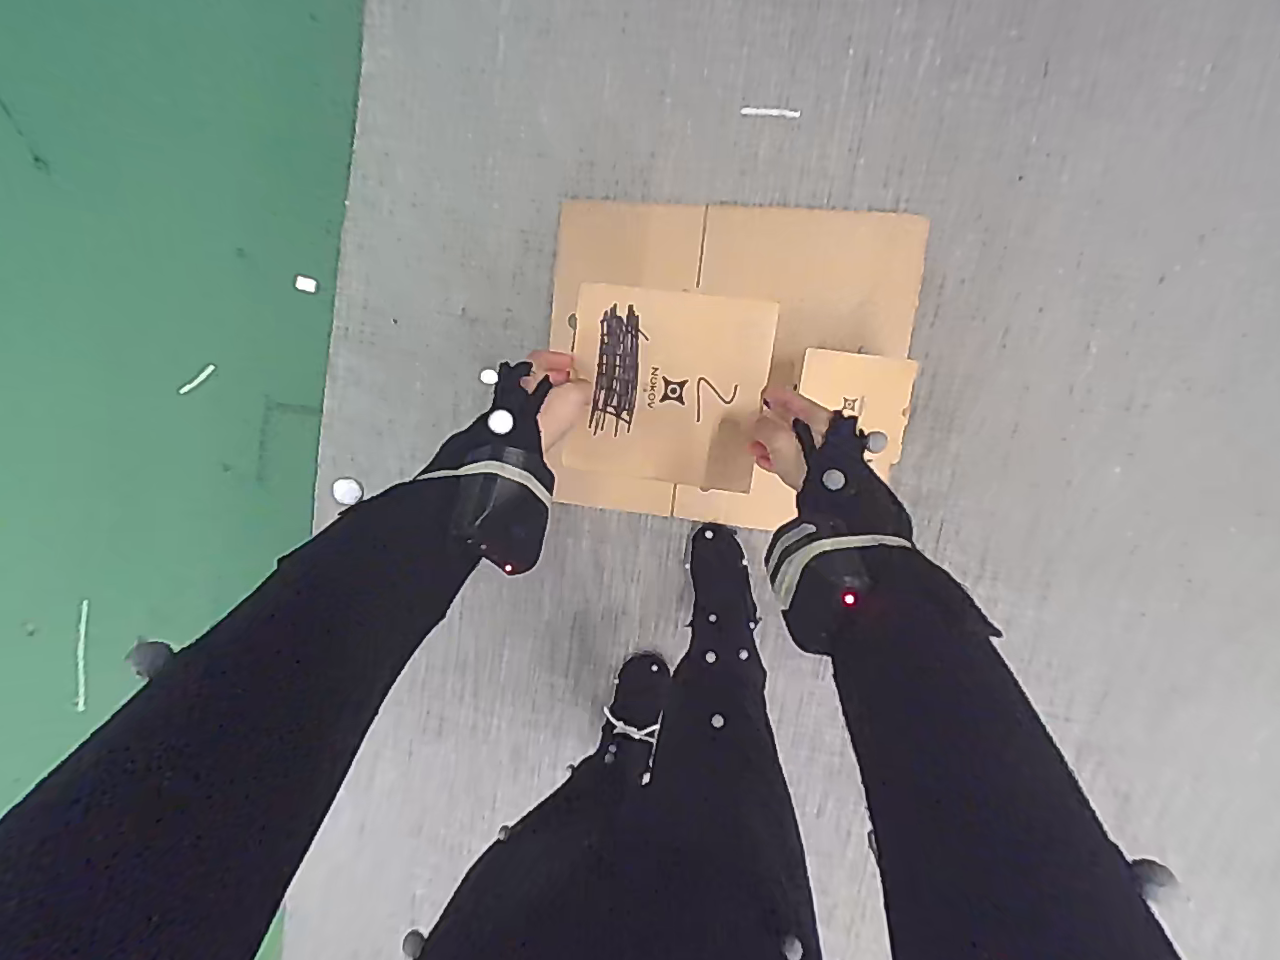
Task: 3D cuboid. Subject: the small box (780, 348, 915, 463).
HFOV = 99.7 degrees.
[{"bbox_3d":[0.348,-0.125,0.944,0.179,0.176,0.168,9,96,8],"label":"small box"}]
